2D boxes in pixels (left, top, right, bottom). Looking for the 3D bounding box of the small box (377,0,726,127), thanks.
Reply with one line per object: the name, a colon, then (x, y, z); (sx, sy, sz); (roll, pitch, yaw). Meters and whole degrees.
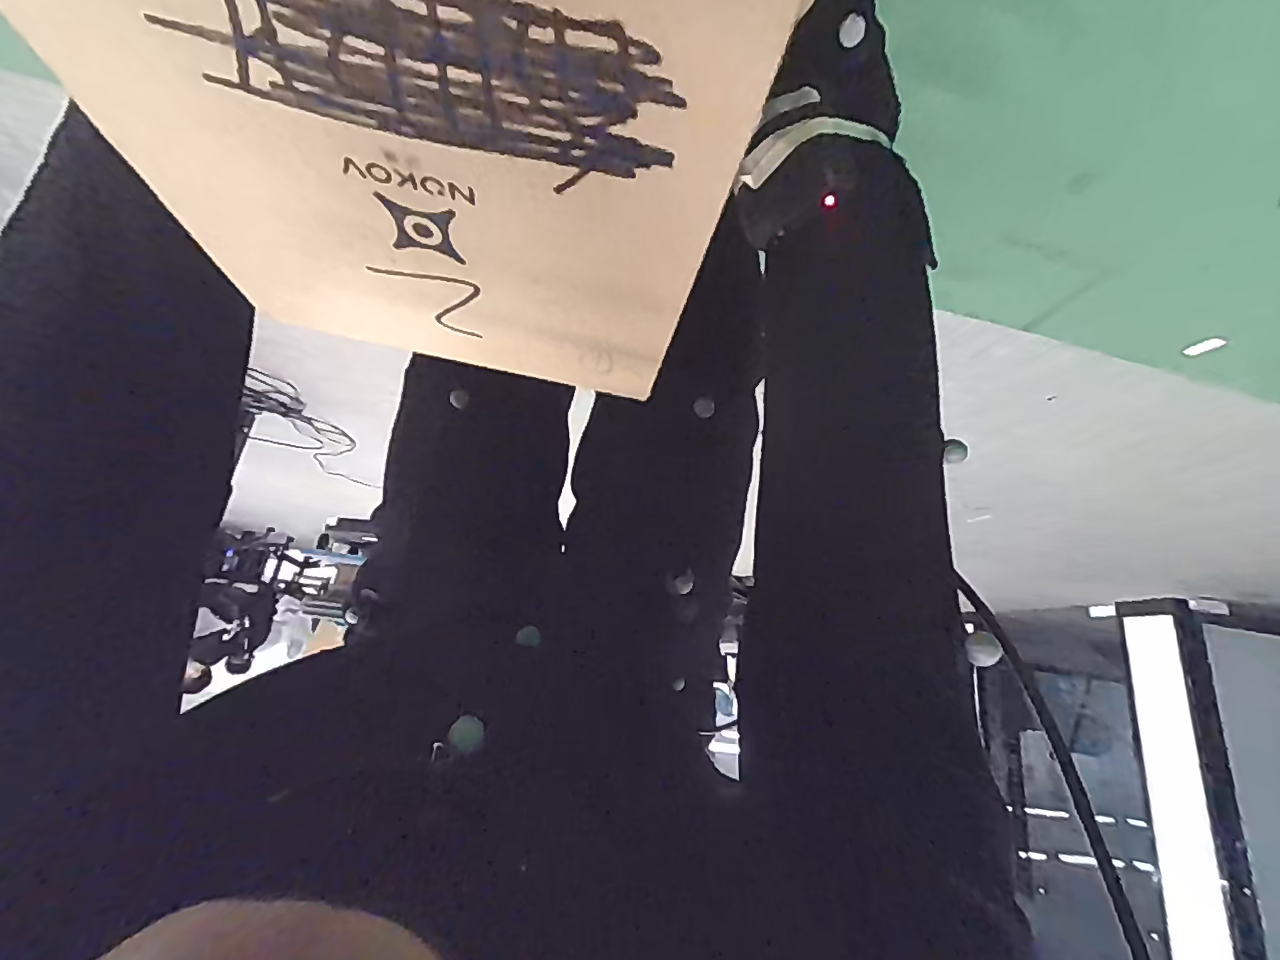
small box: (-0.023, -0.310, 0.233); (0.168, 0.176, 0.179); (11, 161, -7)
